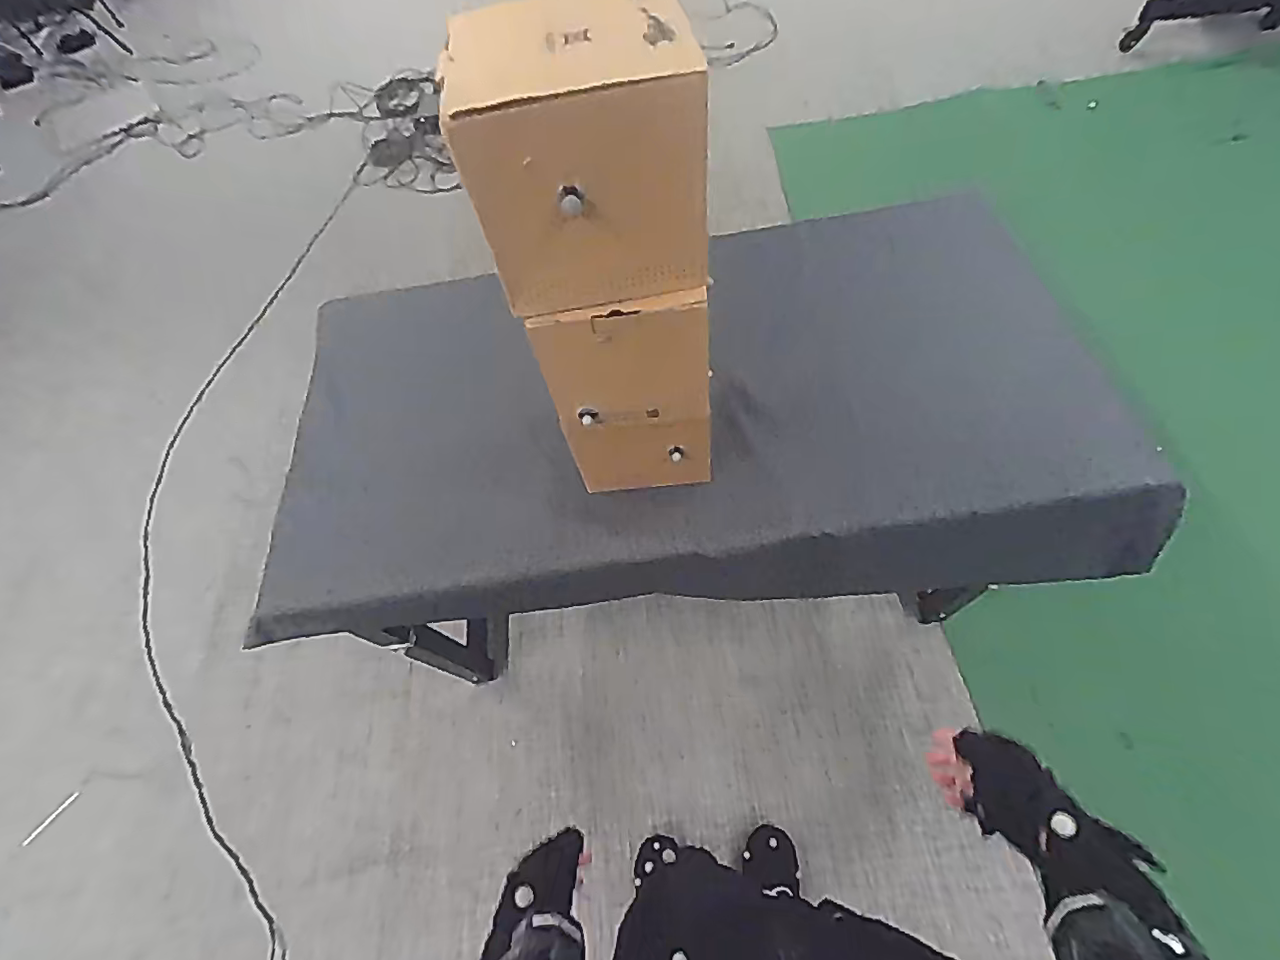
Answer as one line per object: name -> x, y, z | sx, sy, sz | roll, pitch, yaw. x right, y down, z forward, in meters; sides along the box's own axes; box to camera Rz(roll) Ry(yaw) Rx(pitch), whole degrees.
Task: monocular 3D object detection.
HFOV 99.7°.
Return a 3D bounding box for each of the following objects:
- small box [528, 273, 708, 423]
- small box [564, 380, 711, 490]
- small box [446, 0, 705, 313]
small box -> -0.019, -0.177, 0.595 | 0.168, 0.176, 0.179 | -9, 61, 3
small box -> 0.003, -0.101, 0.739 | 0.179, 0.176, 0.168 | -7, 59, 6
small box -> -0.047, -0.269, 0.465 | 0.179, 0.176, 0.168 | -13, 57, -1
